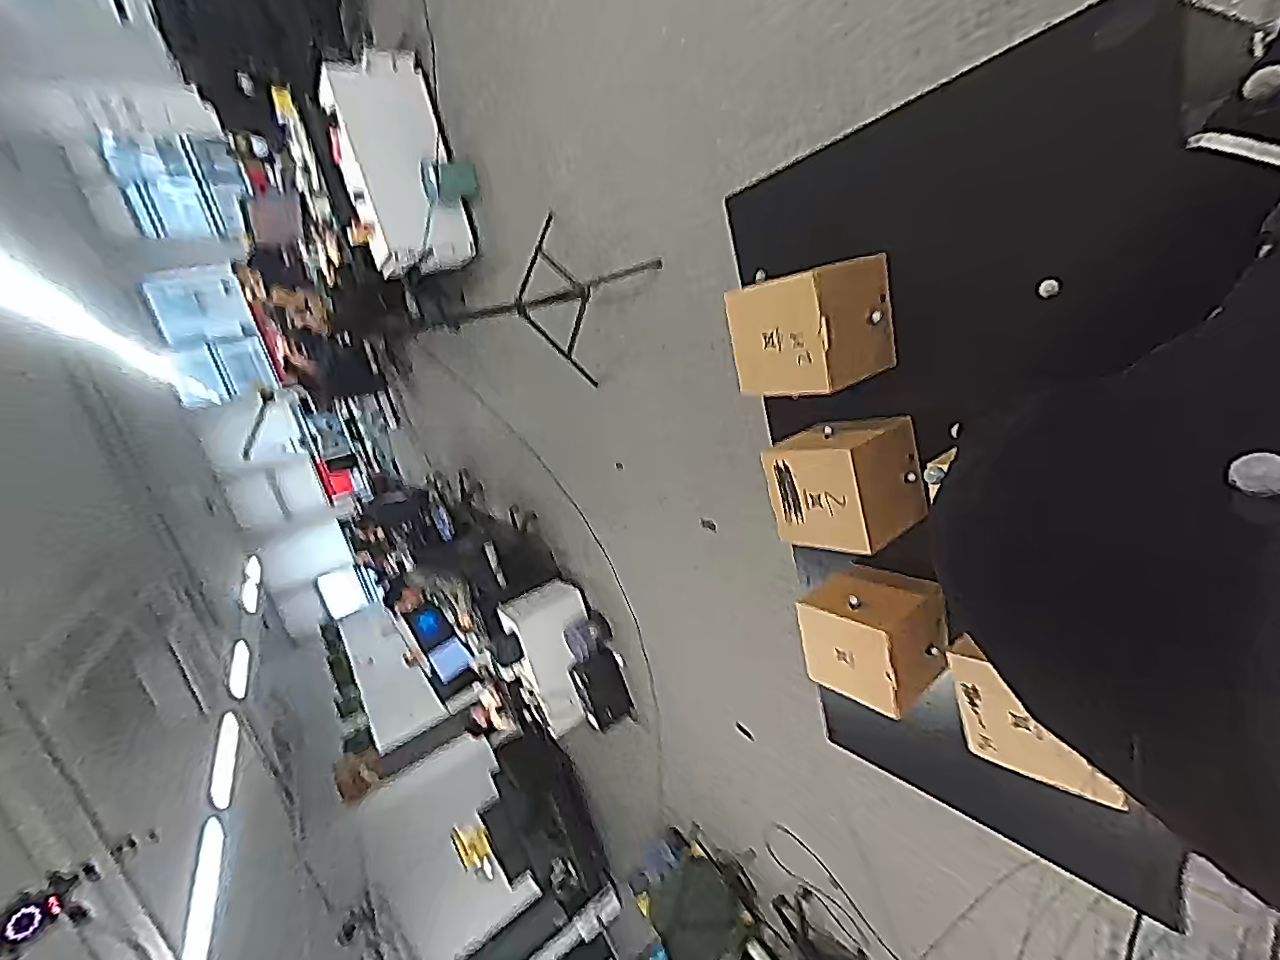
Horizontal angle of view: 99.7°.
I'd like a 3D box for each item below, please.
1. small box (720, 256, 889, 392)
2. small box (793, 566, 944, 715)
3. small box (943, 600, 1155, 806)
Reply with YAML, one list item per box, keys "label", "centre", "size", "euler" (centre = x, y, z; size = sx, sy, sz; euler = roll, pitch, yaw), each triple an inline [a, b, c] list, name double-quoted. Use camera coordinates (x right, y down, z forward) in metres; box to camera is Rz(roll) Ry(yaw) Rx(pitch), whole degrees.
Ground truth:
- label: "small box"
  centre: [0.255, -0.237, 0.839]
  size: [0.179, 0.176, 0.168]
  euler: [10, 119, 55]
- label: "small box"
  centre: [0.402, 0.267, 0.950]
  size: [0.179, 0.176, 0.168]
  euler: [8, 117, 55]
- label: "small box"
  centre: [0.549, 0.277, 0.722]
  size: [0.179, 0.176, 0.168]
  euler: [-3, 107, 58]
